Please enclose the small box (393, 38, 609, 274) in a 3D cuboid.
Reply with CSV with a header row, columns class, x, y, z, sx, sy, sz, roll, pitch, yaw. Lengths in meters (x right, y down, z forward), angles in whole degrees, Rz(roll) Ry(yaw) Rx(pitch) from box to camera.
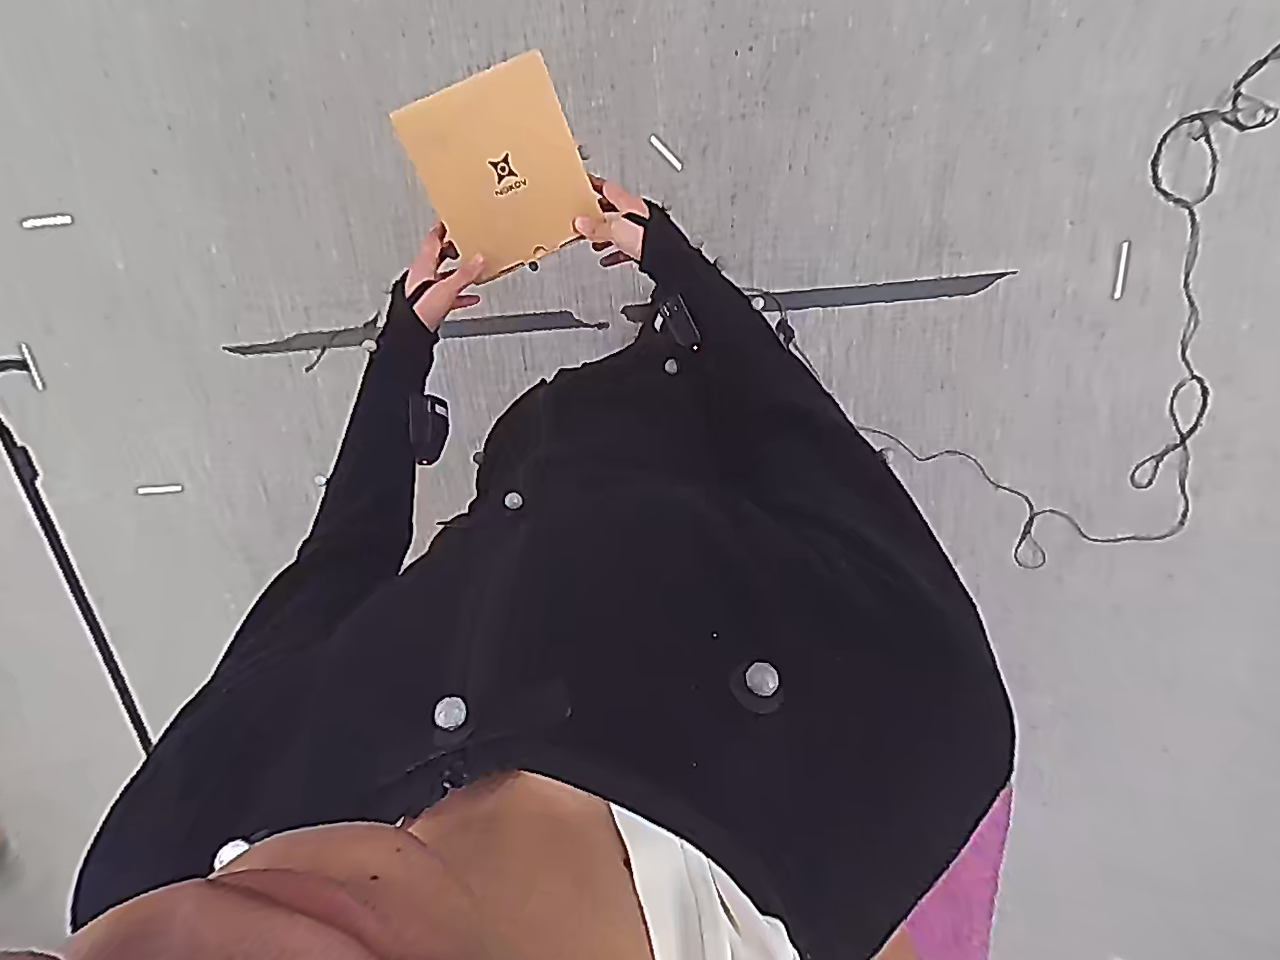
class,x,y,z,sx,sy,sz,roll,pitch,yaw
small box,-0.153,-0.357,0.631,0.168,0.176,0.179,-24,115,-1
